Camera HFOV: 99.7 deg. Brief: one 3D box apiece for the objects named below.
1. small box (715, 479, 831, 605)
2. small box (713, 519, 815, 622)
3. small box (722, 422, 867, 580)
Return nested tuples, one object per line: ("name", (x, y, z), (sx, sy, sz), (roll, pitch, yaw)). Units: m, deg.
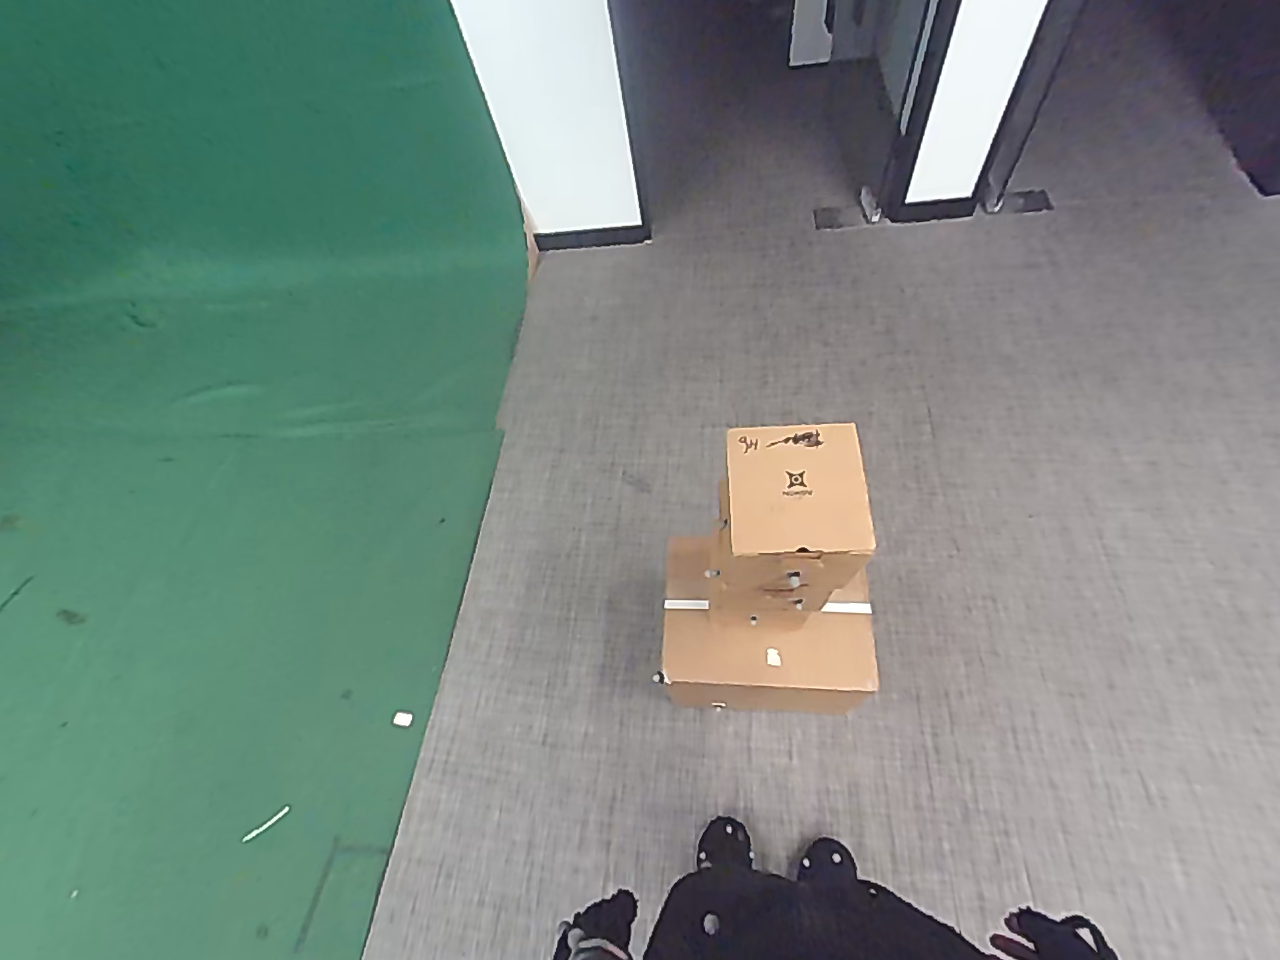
("small box", (0.211, 0.107, 0.893), (0.168, 0.176, 0.179), (-2, 65, 8))
("small box", (0.229, 0.176, 1.039), (0.179, 0.176, 0.168), (-1, 66, 9))
("small box", (0.200, 0.039, 0.745), (0.168, 0.176, 0.179), (-2, 66, 8))
